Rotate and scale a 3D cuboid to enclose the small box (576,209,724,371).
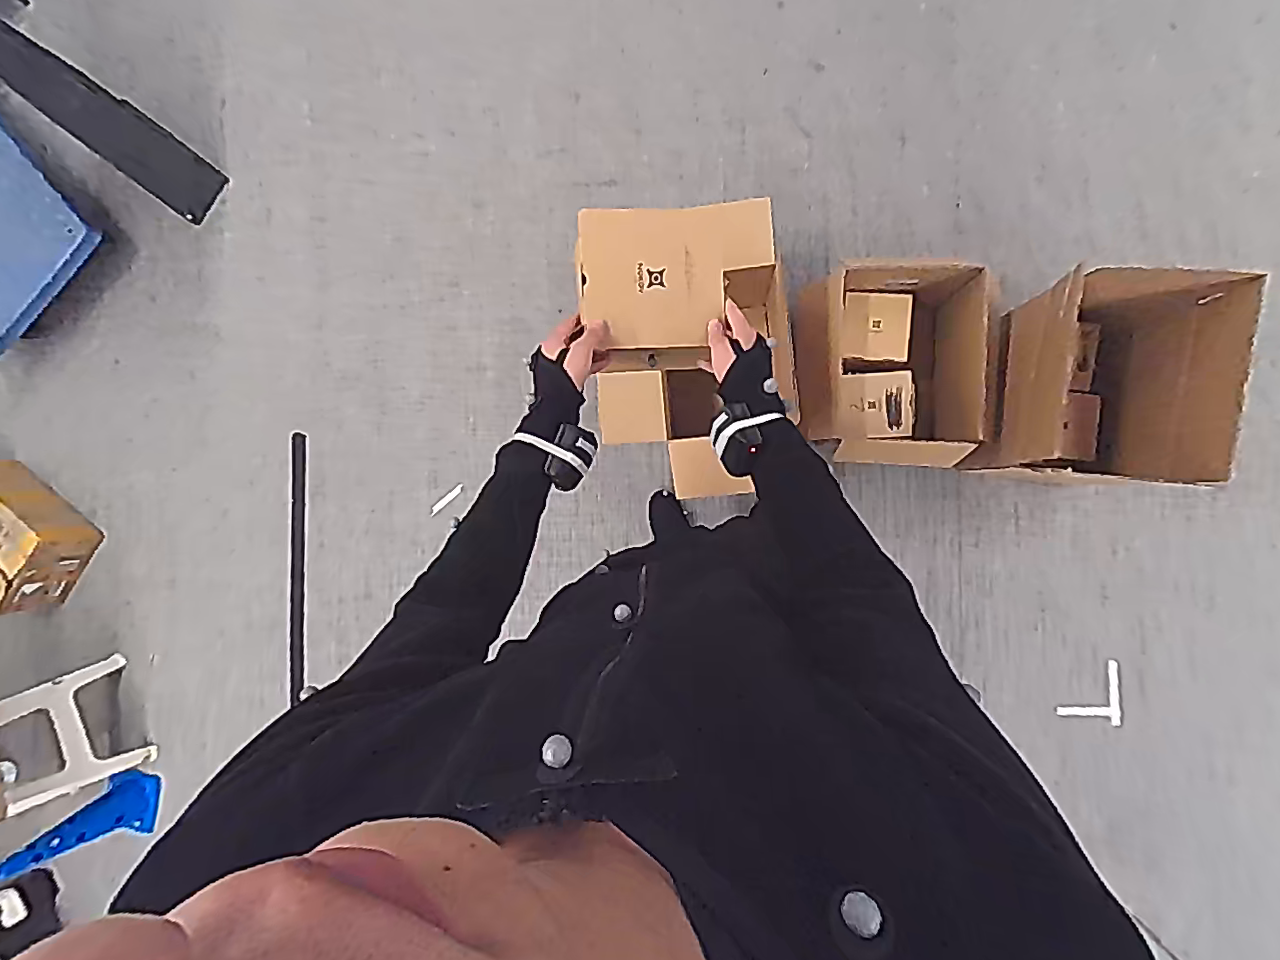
[{"bbox_3d":[0.014,-0.244,0.732,0.179,0.176,0.168,-2,93,0],"label":"small box"}]
